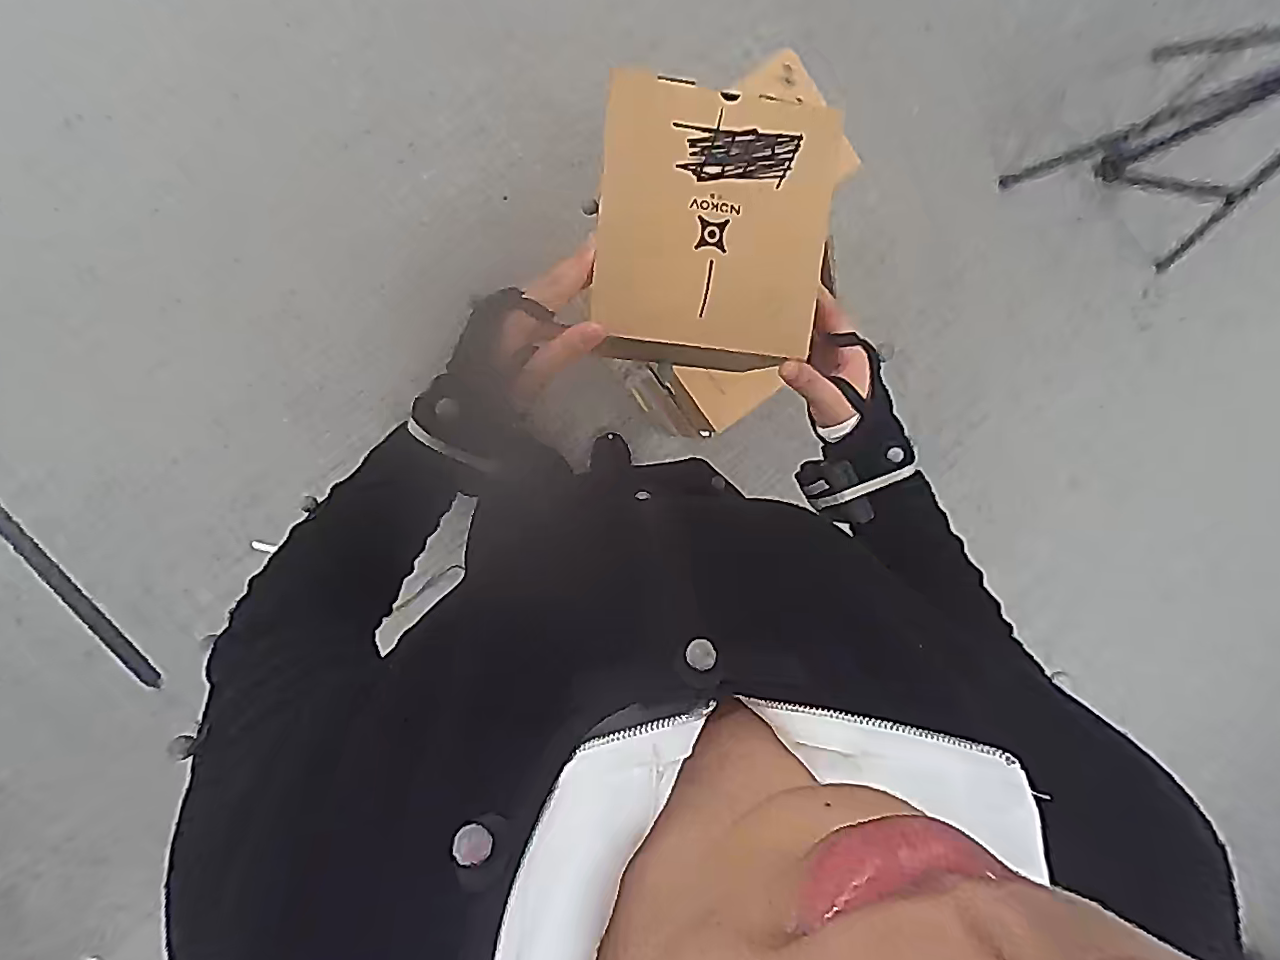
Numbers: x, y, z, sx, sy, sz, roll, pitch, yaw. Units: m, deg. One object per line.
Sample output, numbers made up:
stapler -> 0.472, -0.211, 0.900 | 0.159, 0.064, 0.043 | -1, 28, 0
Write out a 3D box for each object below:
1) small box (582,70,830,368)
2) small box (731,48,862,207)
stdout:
small box -> 0.039, -0.196, 0.462 | 0.168, 0.176, 0.179 | 4, 98, -7
small box -> 0.156, -0.412, 0.737 | 0.179, 0.176, 0.168 | -36, 97, 0
